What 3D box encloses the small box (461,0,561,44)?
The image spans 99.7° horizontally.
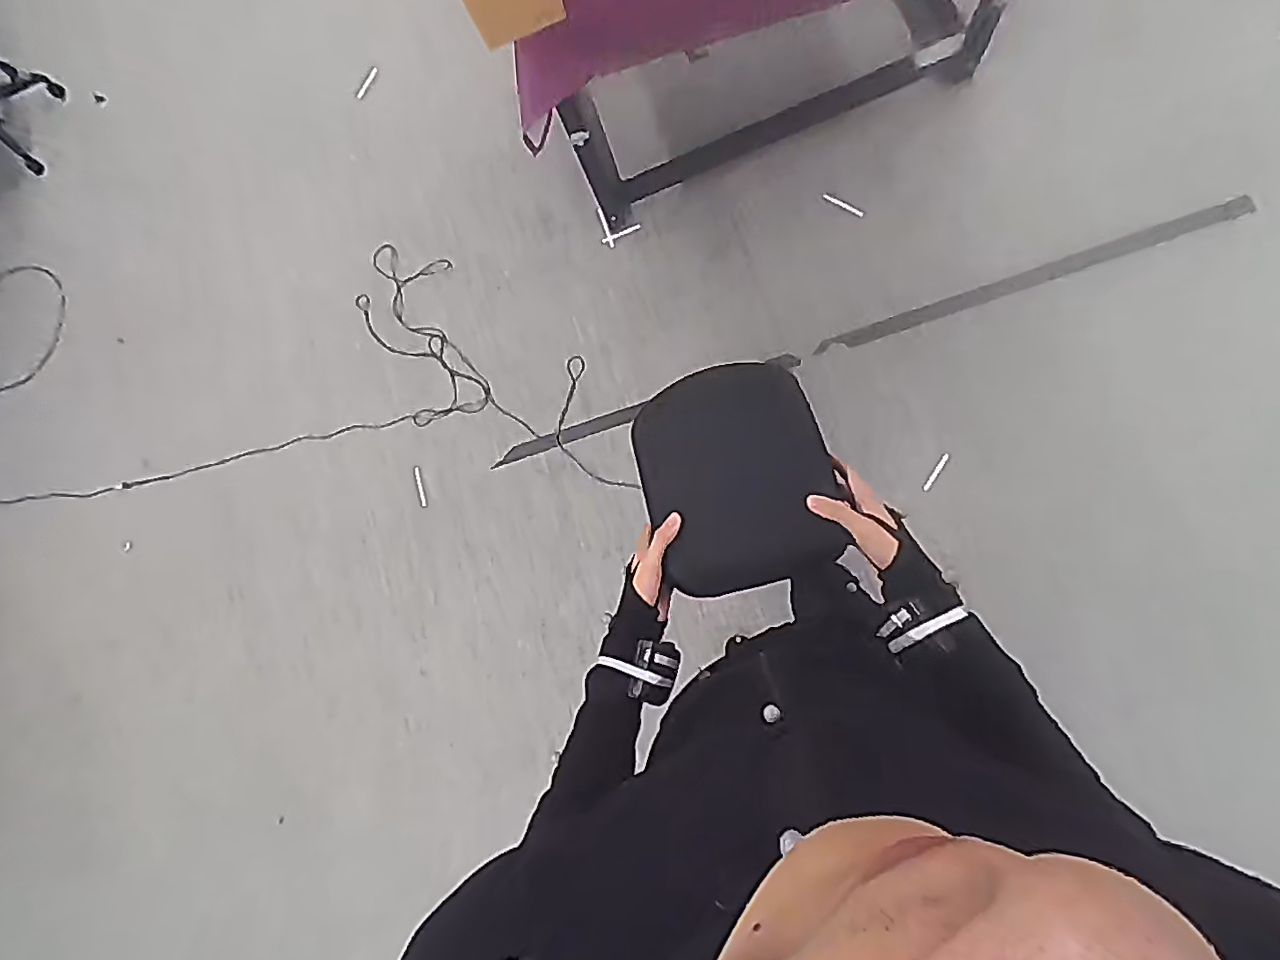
[{"bbox_3d":[-0.270,-0.985,1.021,0.179,0.176,0.168,-17,80,8],"label":"small box"}]
